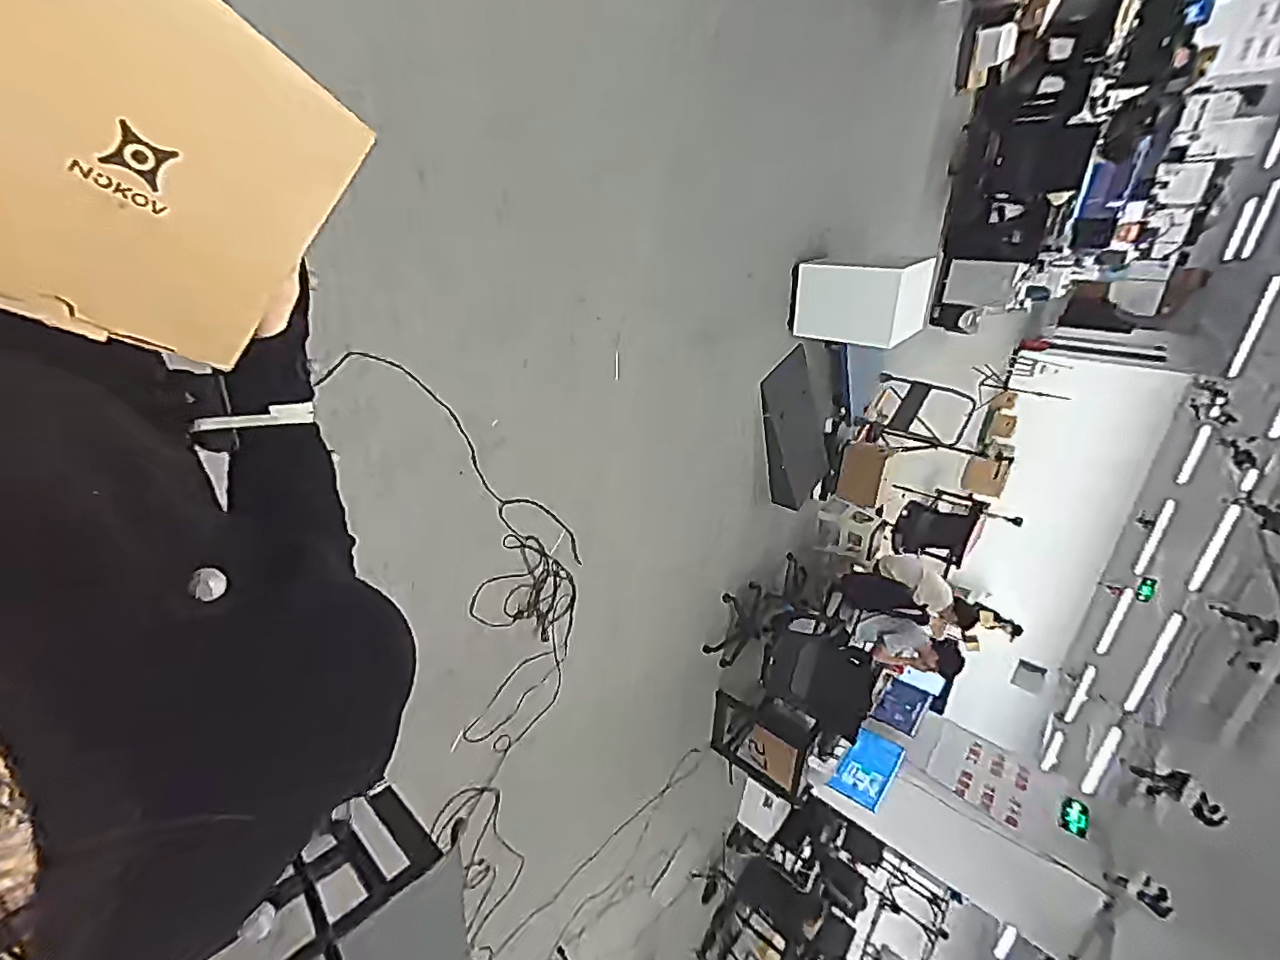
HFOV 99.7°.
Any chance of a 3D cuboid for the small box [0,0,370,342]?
[{"bbox_3d":[-0.302,-0.217,0.300,0.179,0.176,0.168,-52,155,6],"label":"small box"}]
